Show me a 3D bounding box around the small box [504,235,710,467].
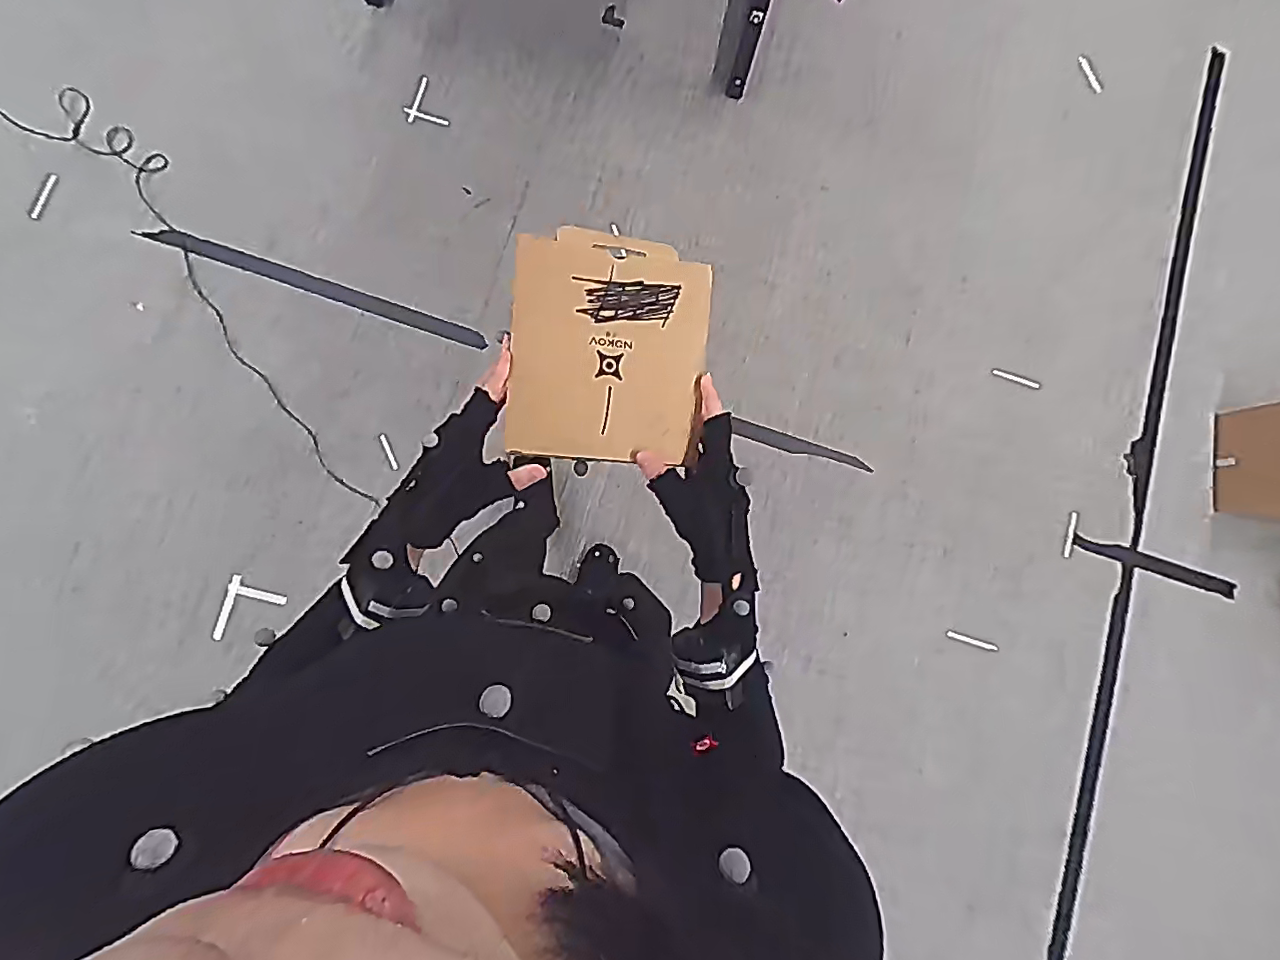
[{"bbox_3d":[-0.041,-0.107,0.528,0.168,0.176,0.179,4,91,-12],"label":"small box"}]

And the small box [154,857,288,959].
[{"bbox_3d":[-0.998,1.053,1.304,0.179,0.176,0.168,16,82,-1],"label":"small box"}]
